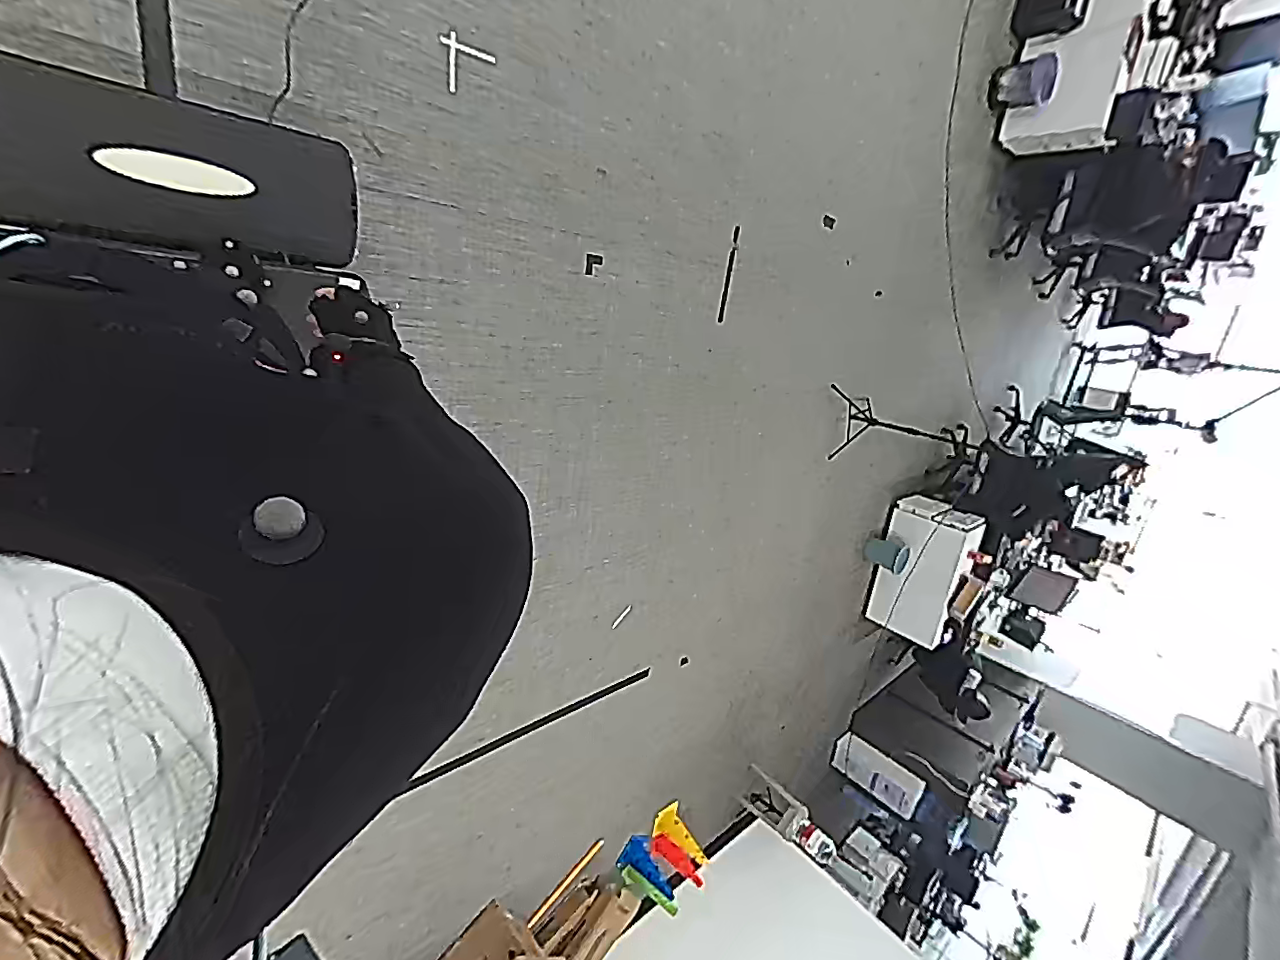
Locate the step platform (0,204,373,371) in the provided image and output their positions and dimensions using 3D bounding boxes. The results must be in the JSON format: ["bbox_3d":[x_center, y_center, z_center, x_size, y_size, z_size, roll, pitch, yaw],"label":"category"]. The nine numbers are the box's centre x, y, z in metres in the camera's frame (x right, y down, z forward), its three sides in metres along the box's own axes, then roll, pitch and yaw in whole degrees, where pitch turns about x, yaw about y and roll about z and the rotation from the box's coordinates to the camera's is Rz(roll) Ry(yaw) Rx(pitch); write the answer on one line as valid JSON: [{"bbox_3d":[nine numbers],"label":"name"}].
[{"bbox_3d":[-0.958,-0.387,1.170,0.684,0.204,0.286,-9,113,-40],"label":"step platform"}]
